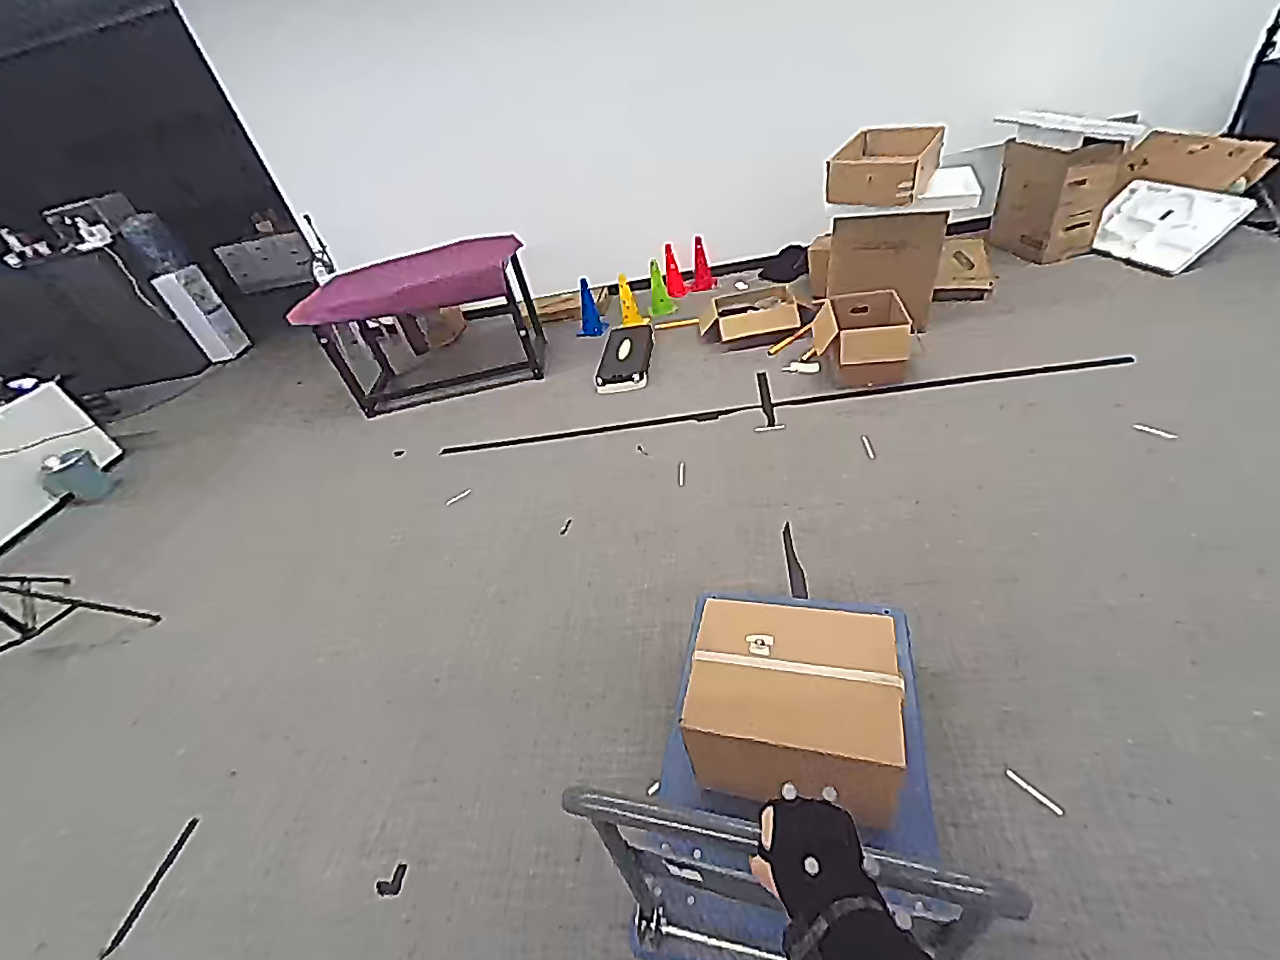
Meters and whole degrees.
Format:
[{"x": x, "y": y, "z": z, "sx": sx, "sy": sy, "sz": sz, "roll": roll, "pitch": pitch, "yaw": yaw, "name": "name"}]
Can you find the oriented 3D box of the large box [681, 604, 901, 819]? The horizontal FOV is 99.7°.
[{"x": 0.338, "y": 0.505, "z": 1.207, "sx": 0.408, "sy": 0.320, "sz": 0.320, "roll": 0, "pitch": 40, "yaw": 19, "name": "large box"}]
